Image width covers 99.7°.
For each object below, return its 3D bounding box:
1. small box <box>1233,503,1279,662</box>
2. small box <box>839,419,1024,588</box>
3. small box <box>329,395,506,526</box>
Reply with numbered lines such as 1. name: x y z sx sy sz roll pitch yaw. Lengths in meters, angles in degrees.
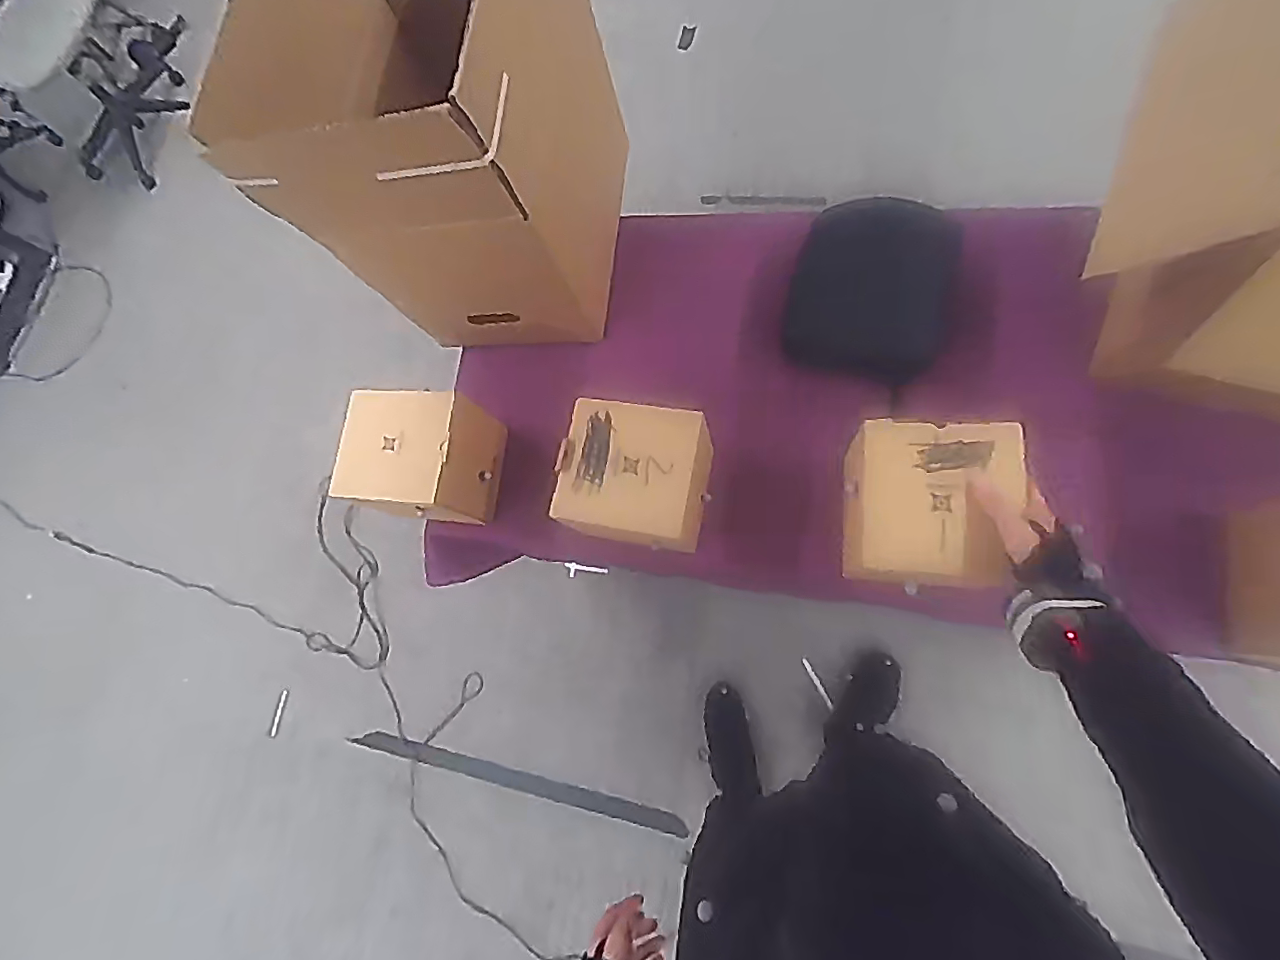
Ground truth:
1. small box: 0.767 0.111 0.549 0.168 0.176 0.179 9 78 16
2. small box: 0.344 0.036 0.671 0.168 0.176 0.179 3 77 14
3. small box: -0.335 -0.024 0.845 0.179 0.176 0.168 3 77 13
